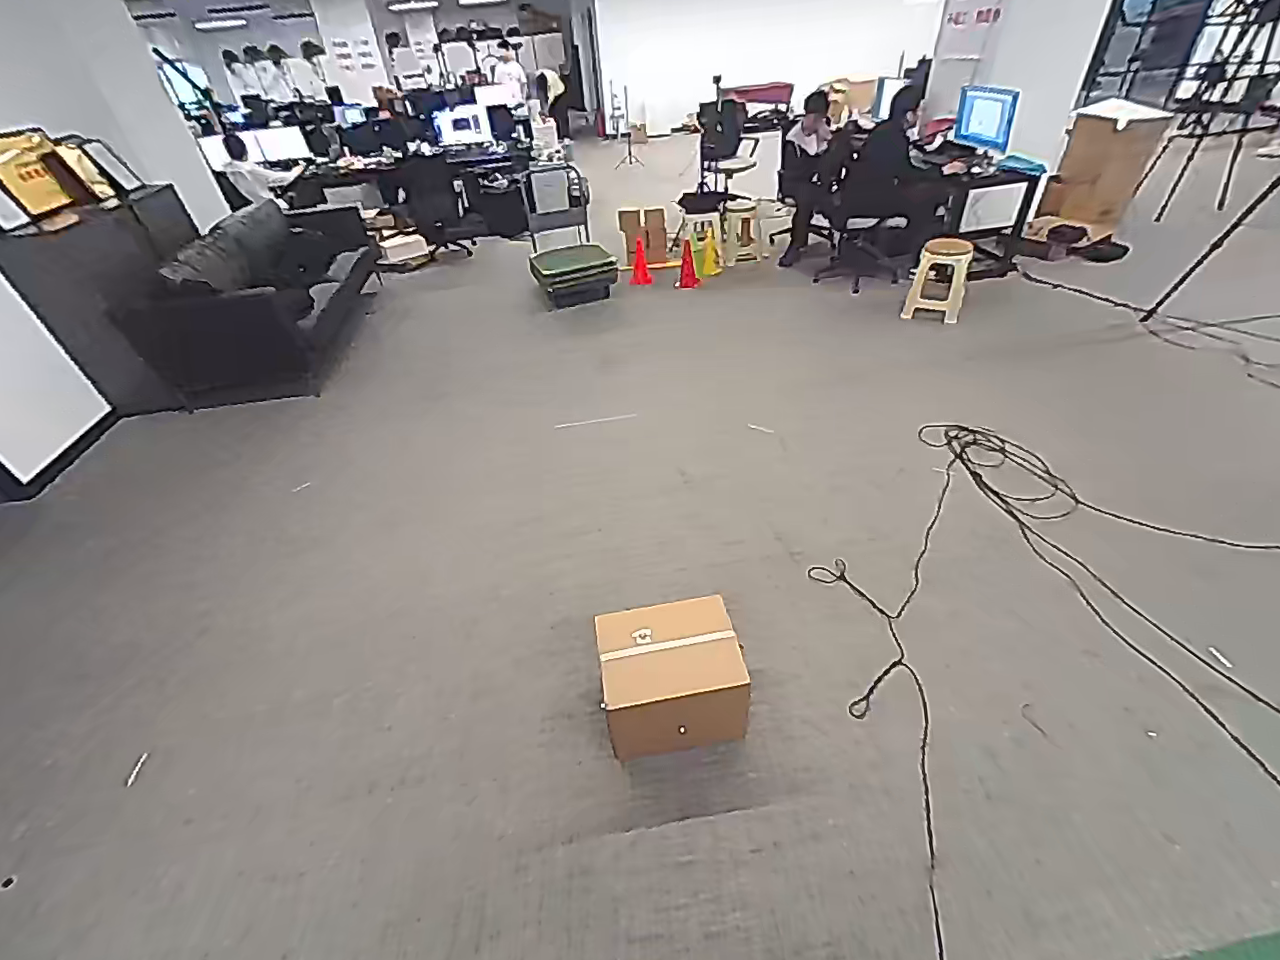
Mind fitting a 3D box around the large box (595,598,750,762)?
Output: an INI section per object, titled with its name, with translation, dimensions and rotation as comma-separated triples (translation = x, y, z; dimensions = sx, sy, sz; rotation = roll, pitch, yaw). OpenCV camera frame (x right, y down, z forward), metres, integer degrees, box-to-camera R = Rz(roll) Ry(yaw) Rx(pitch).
[large box]
translation = 0.096, 0.616, 1.671
dimensions = 0.408, 0.320, 0.320
rotation = -11, 38, -4
